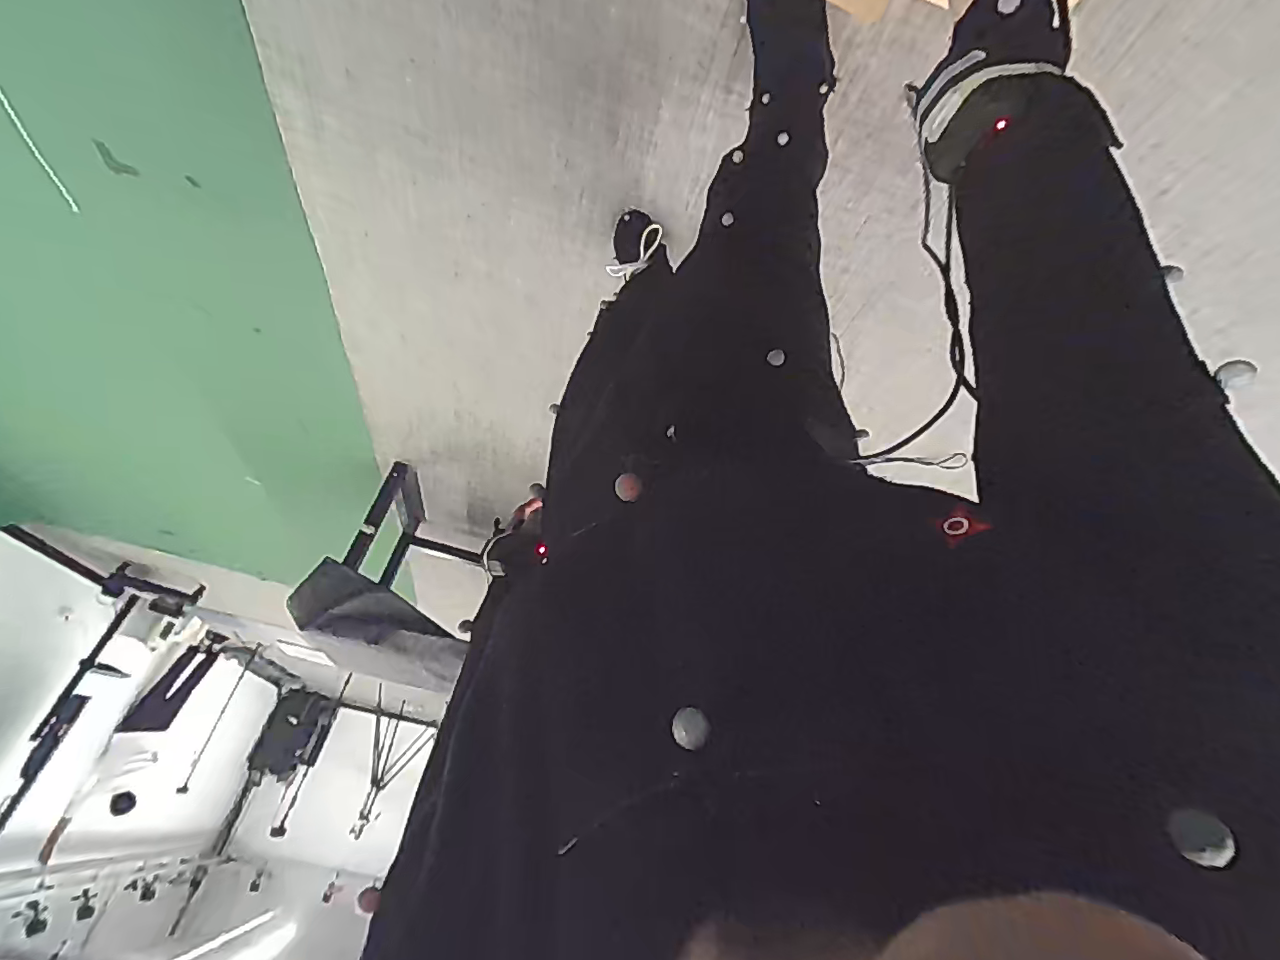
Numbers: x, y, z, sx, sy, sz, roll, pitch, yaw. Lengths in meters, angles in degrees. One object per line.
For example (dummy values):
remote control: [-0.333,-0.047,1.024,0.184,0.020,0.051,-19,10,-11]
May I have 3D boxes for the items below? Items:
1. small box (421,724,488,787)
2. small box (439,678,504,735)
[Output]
small box: [-0.659,0.979,1.929,0.179,0.176,0.168,22,147,-13]
small box: [-0.628,0.843,2.013,0.179,0.176,0.168,21,147,-14]
